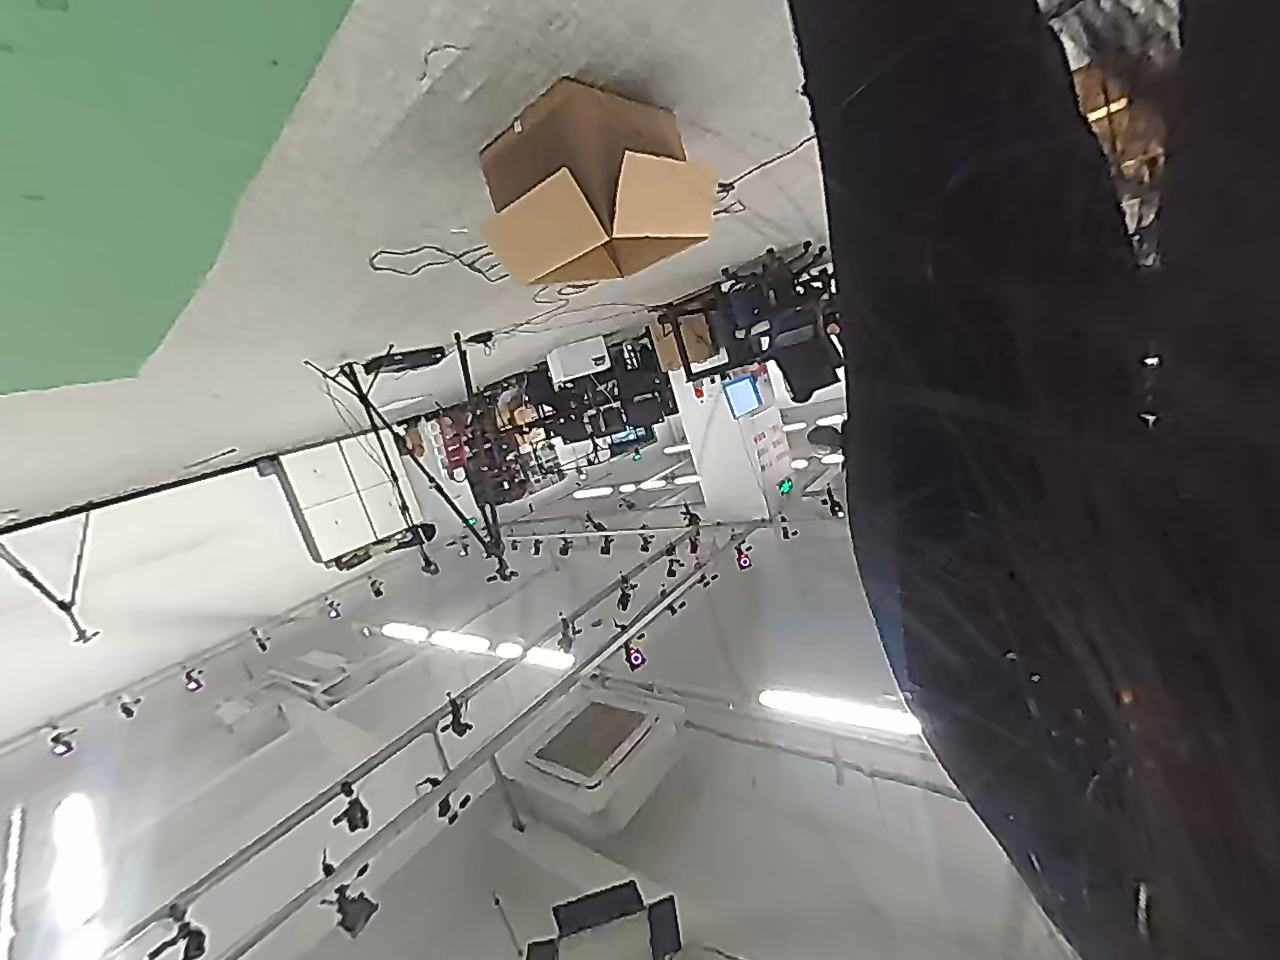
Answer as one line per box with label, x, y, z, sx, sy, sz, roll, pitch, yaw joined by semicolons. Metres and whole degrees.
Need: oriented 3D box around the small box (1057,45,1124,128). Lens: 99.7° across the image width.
small box;1.661;-1.447;1.997;0.179;0.176;0.168;-9;-167;43
